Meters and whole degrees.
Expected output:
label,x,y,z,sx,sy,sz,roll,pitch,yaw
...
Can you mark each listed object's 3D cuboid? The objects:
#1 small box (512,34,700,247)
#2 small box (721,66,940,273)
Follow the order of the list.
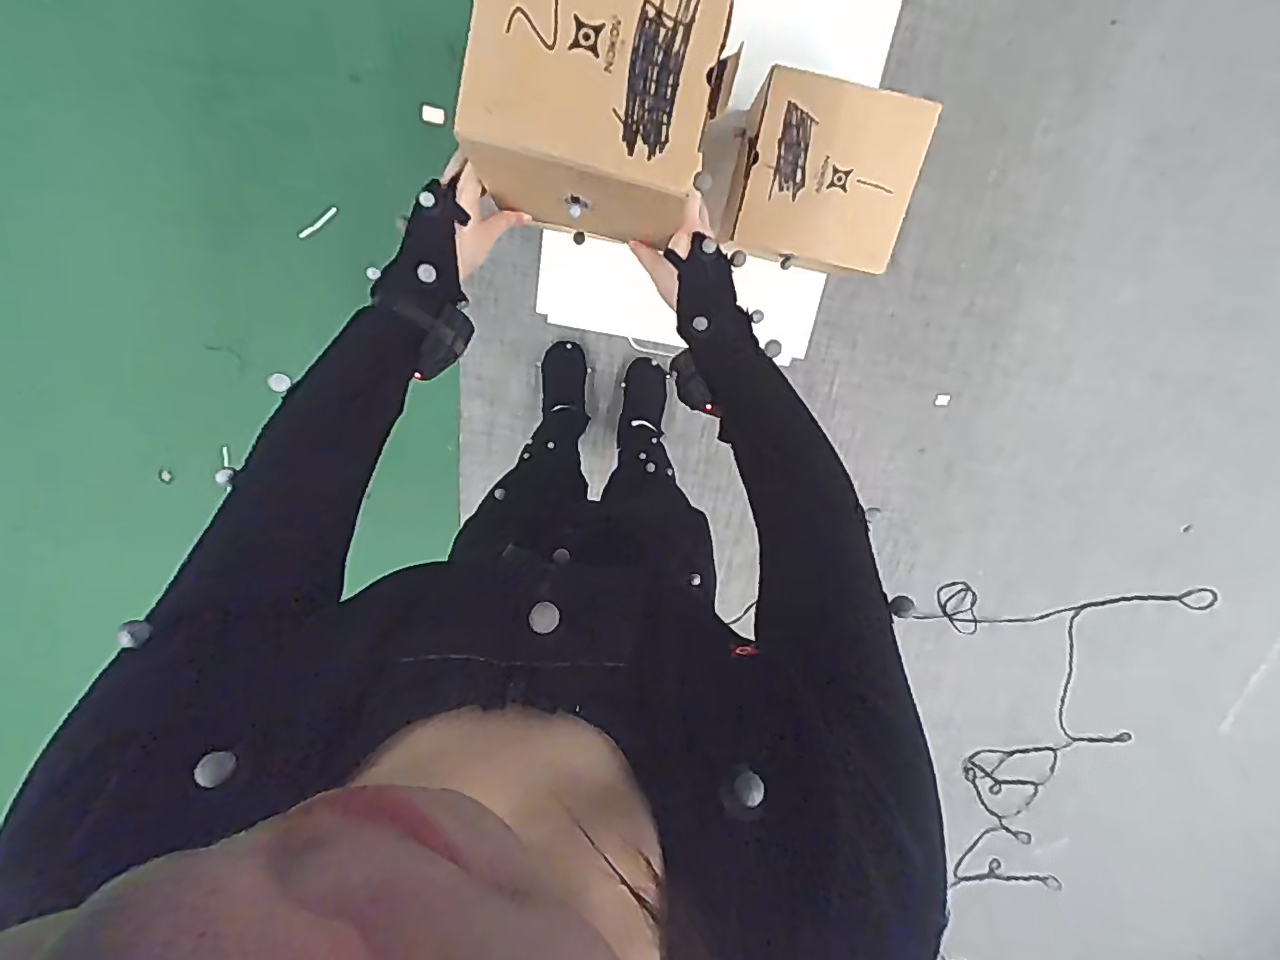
label,x,y,z,sx,sy,sz,roll,pitch,yaw
small box,-0.039,-0.377,0.634,0.179,0.176,0.168,10,112,-4
small box,0.203,-0.348,0.642,0.179,0.176,0.168,11,111,-4
